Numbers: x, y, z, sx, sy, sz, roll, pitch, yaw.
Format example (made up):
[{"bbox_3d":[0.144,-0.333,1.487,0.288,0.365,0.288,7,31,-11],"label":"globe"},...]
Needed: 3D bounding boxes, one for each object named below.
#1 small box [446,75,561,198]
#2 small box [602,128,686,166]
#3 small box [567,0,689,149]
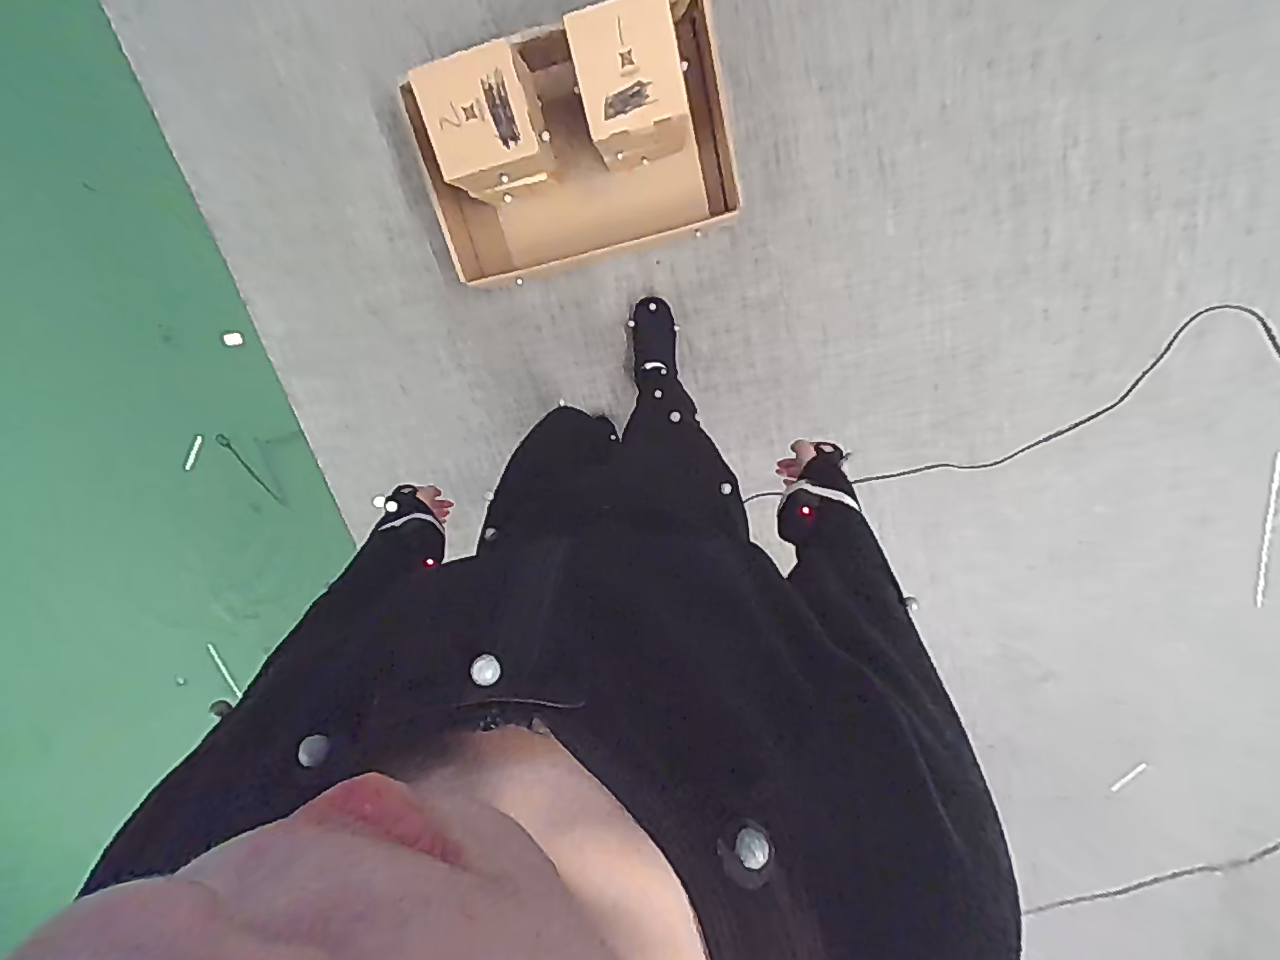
[{"bbox_3d":[-0.270,-0.694,1.116,0.168,0.176,0.179,-9,111,5],"label":"small box"},{"bbox_3d":[-0.004,-0.748,1.080,0.168,0.176,0.179,-12,111,8],"label":"small box"},{"bbox_3d":[-0.011,-0.688,0.927,0.168,0.176,0.179,-11,111,7],"label":"small box"}]
